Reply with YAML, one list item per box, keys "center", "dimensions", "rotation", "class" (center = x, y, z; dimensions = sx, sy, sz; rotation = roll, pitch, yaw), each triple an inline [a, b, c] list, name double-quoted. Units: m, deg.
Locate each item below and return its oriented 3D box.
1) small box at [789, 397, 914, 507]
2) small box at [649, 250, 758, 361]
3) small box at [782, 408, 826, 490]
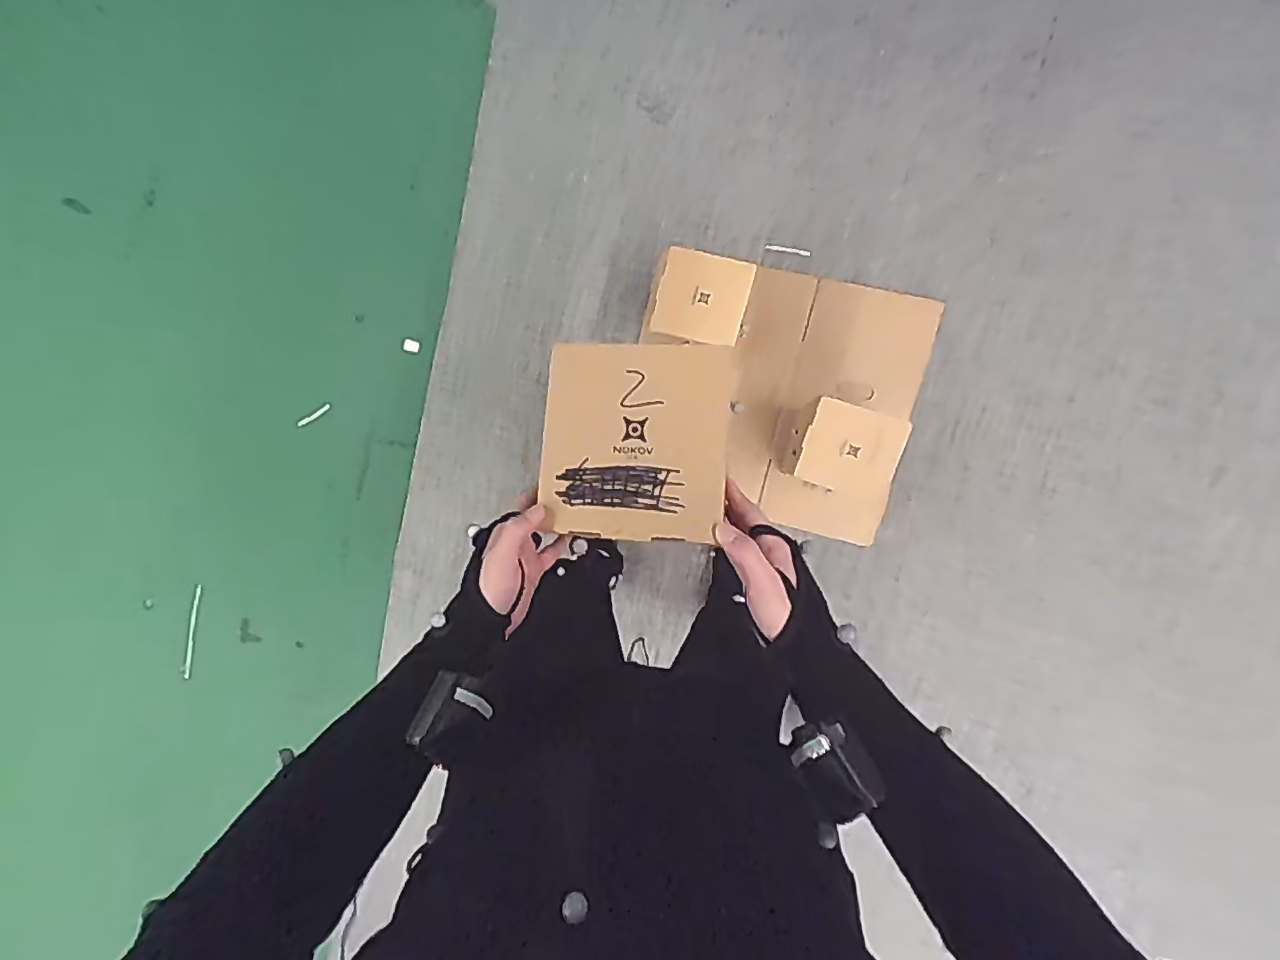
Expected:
- center: [0.412, -0.056, 1.091]
  dimensions: [0.179, 0.176, 0.168]
  rotation: [20, 98, 9]
  class: "small box"
- center: [0.135, -0.351, 1.119]
  dimensions: [0.179, 0.176, 0.168]
  rotation: [16, 97, 9]
  class: "small box"
- center: [0.441, -0.063, 1.252]
  dimensions: [0.179, 0.176, 0.168]
  rotation: [17, 96, 9]
  class: "small box"
